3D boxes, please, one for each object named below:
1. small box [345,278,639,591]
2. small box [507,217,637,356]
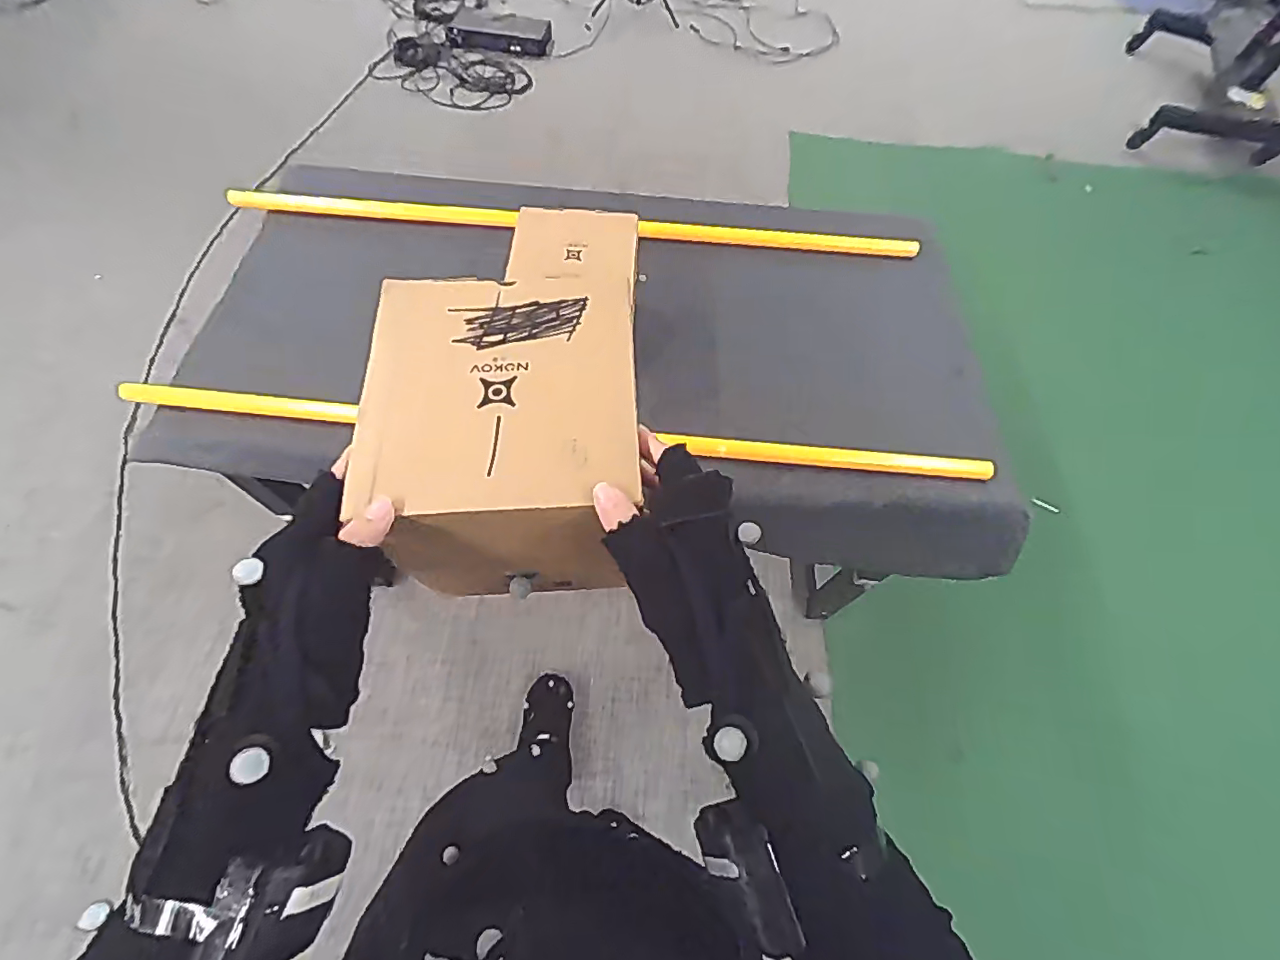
[{"bbox_3d":[-0.088,-0.026,0.411,0.168,0.176,0.179,-3,63,-2],"label":"small box"},{"bbox_3d":[-0.093,-0.252,0.792,0.168,0.176,0.179,2,63,-1],"label":"small box"}]
